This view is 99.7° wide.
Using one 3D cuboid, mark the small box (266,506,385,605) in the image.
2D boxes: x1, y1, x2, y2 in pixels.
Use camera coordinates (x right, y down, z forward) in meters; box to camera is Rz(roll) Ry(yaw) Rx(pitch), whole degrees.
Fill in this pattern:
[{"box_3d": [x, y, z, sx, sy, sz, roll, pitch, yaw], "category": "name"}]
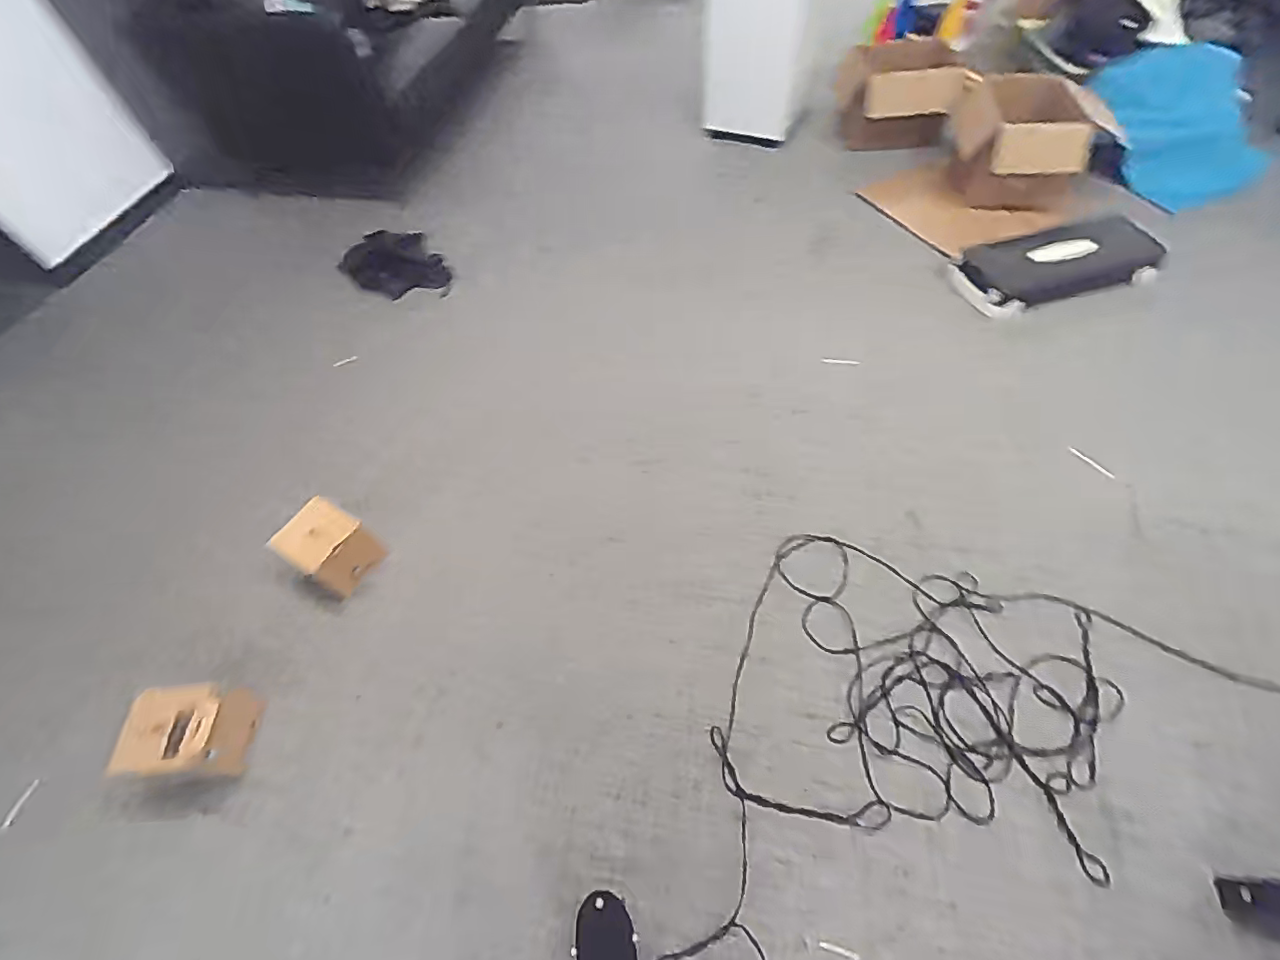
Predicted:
[{"box_3d": [-0.823, 0.204, 1.431, 0.179, 0.176, 0.168, 24, 60, 19], "category": "small box"}]
